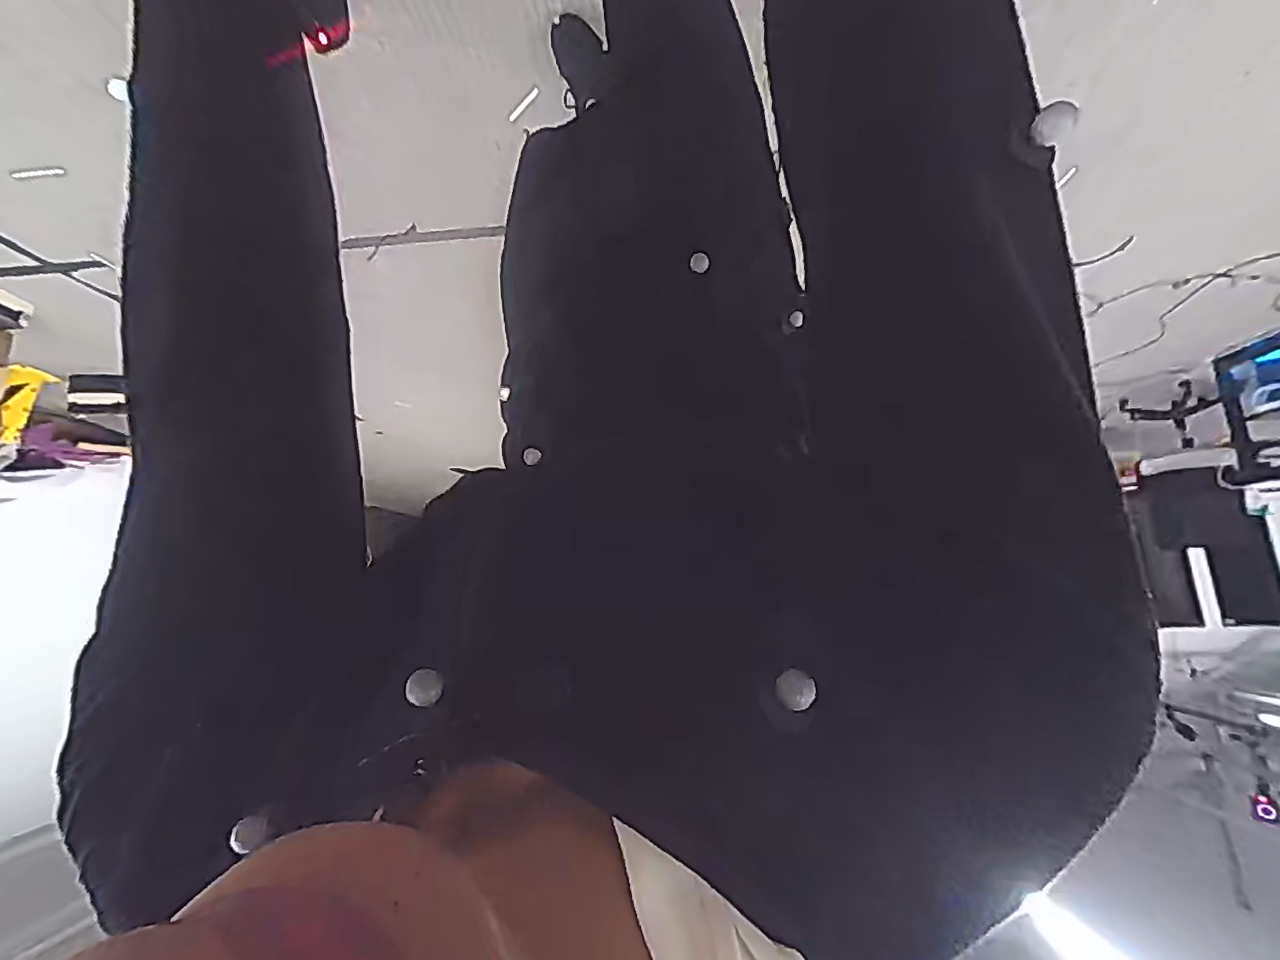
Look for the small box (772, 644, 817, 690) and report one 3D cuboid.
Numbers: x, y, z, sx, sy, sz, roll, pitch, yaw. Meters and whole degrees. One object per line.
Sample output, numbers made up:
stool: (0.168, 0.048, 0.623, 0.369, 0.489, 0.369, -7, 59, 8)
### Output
small box: (0.681, 0.826, 2.401, 0.168, 0.176, 0.179, -3, 170, 7)
